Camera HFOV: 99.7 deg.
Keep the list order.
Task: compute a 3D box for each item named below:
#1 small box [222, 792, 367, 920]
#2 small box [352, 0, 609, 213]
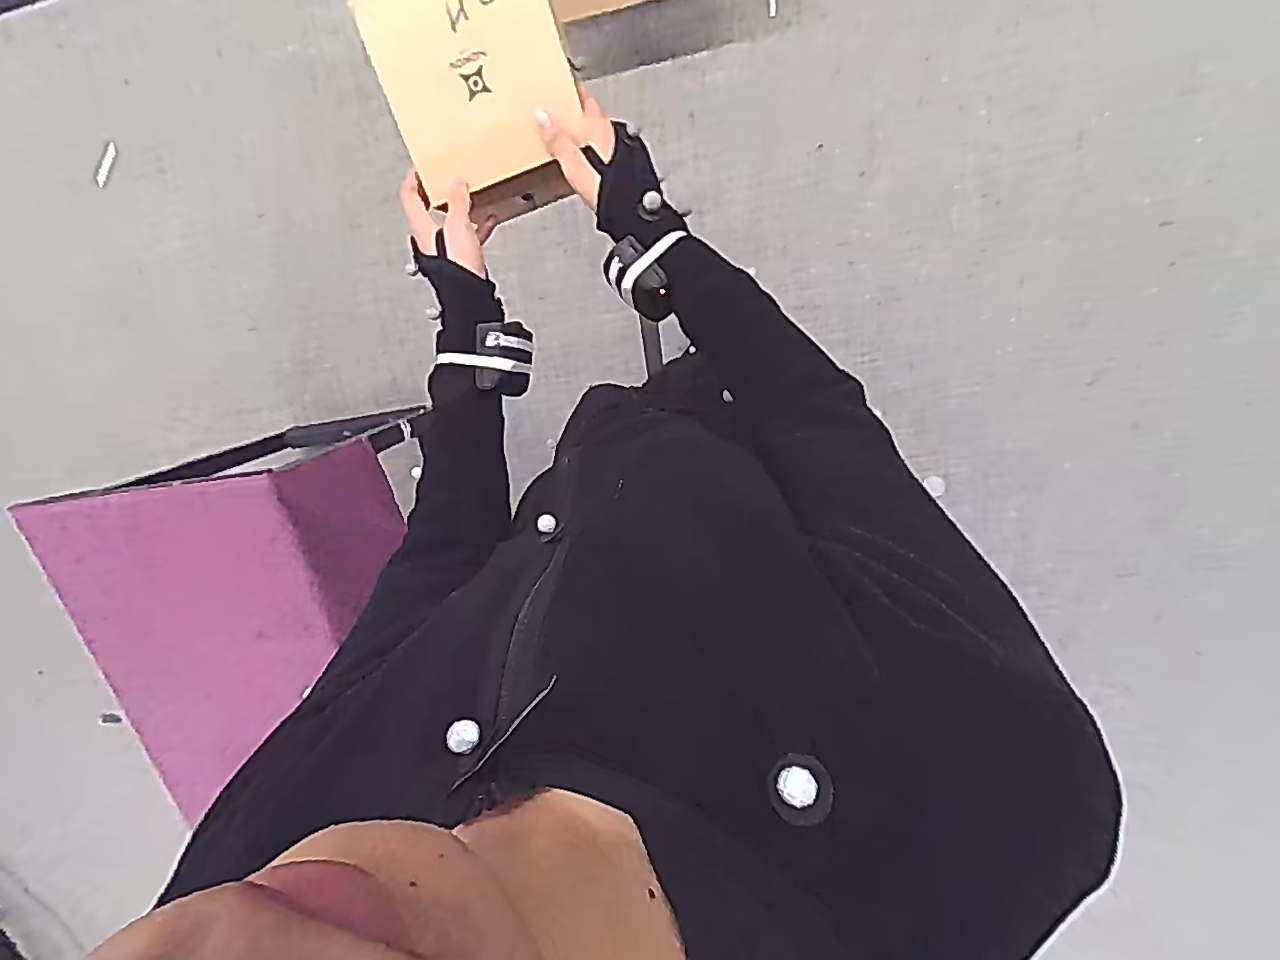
[{"bbox_3d":[-0.746,0.820,1.187,0.179,0.176,0.168,-11,107,11],"label":"small box"},{"bbox_3d":[-0.138,-0.384,0.541,0.168,0.176,0.179,-16,108,8],"label":"small box"}]
